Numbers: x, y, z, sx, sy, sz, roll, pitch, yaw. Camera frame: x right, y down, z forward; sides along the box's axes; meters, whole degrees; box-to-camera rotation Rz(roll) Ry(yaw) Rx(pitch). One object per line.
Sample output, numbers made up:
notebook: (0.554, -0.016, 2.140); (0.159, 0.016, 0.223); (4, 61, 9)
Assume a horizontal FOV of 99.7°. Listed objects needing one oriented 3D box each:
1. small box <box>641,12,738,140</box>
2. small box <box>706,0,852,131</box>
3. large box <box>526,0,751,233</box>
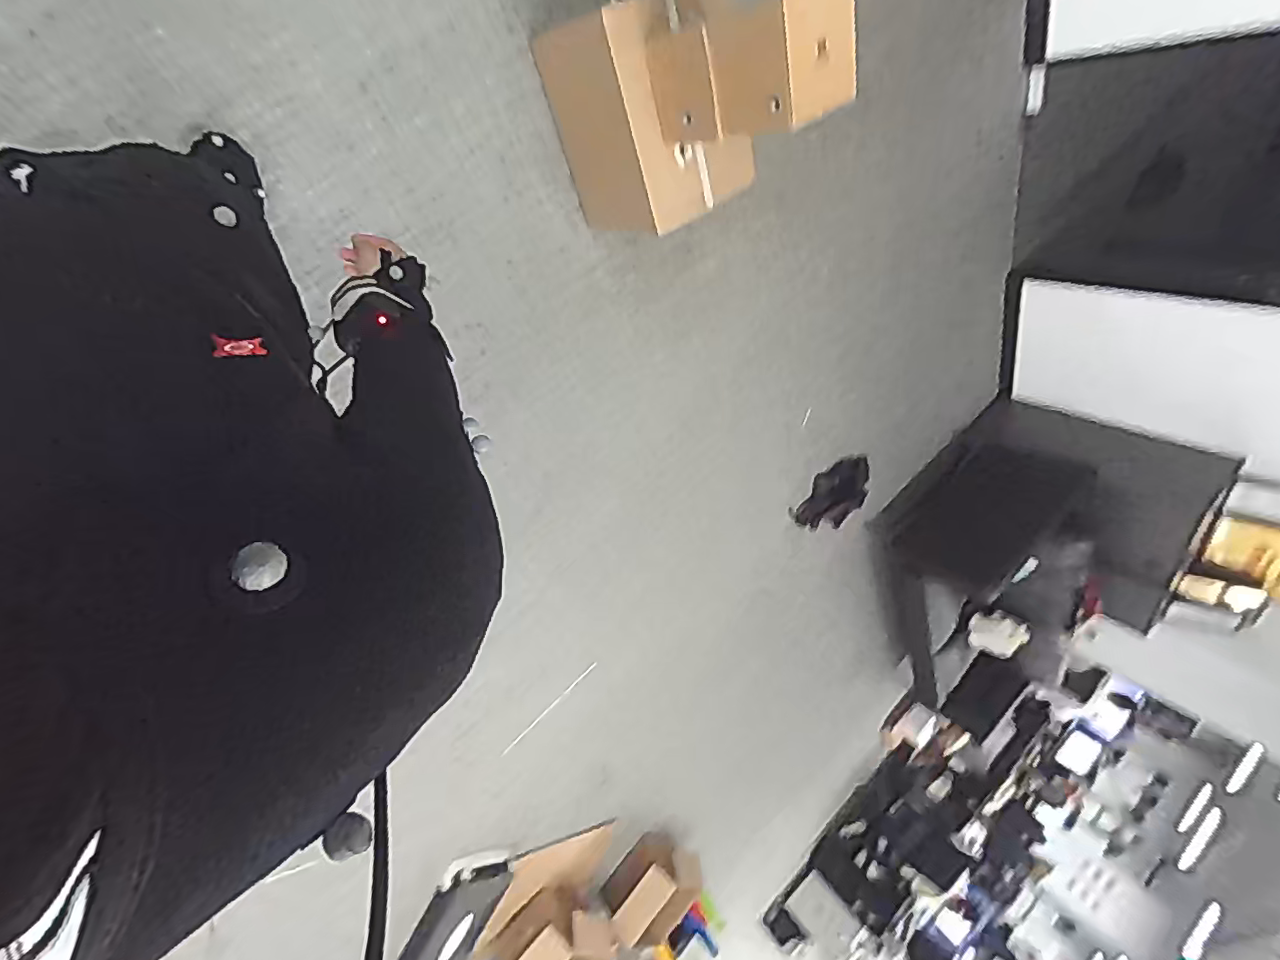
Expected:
small box: (0.129, -0.769, 1.028); (0.168, 0.176, 0.179); (-37, 131, -19)
small box: (0.233, -0.718, 0.912); (0.168, 0.176, 0.179); (-38, 132, -18)
large box: (0.007, -0.838, 1.229); (0.320, 0.320, 0.408); (-36, 132, -17)
